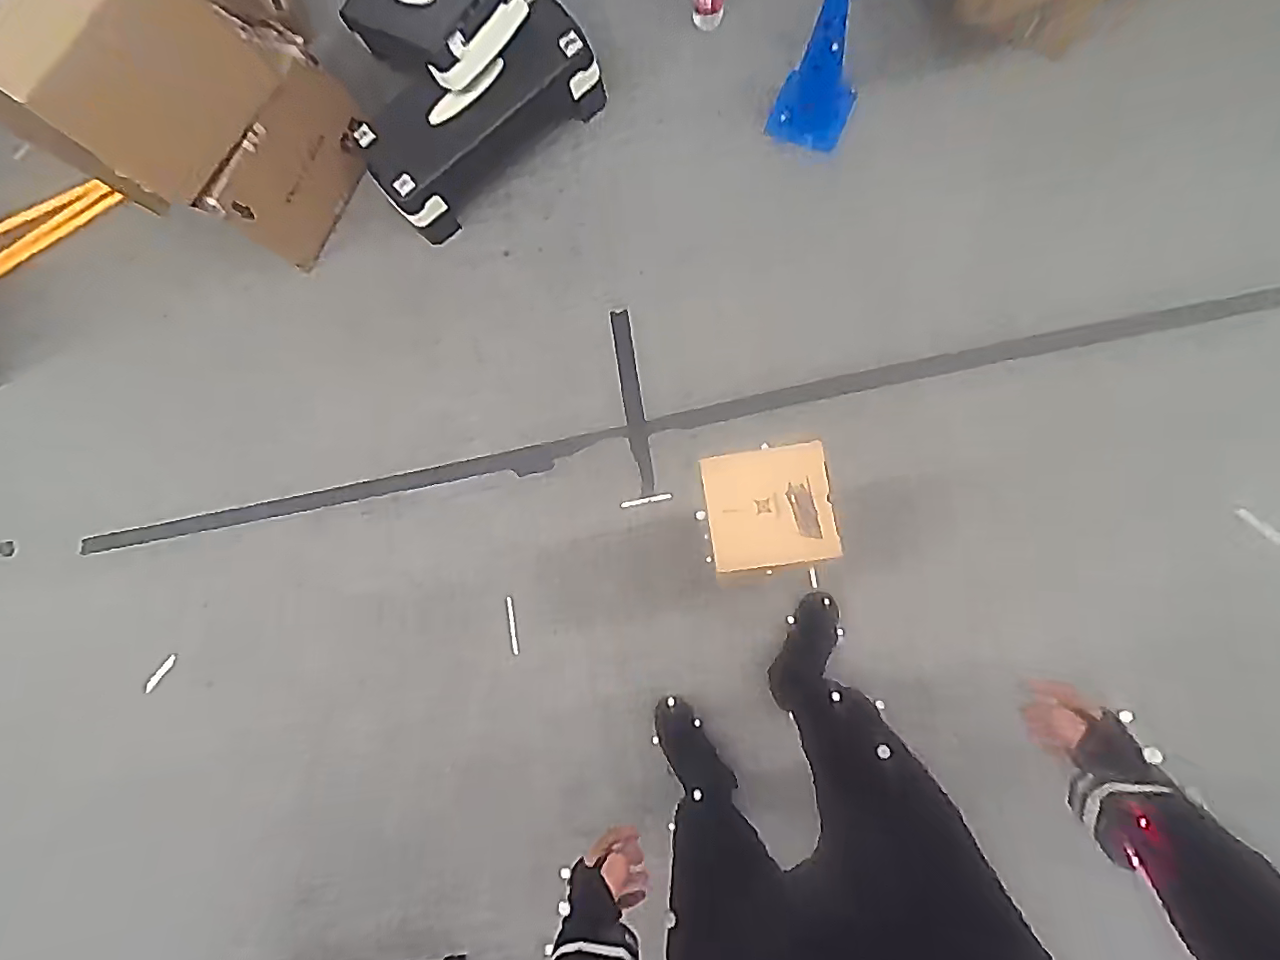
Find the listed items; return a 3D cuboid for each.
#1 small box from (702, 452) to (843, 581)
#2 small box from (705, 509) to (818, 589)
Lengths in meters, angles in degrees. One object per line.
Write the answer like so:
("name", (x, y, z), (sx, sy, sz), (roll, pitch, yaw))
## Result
("small box", (0.193, 0.059, 0.835), (0.179, 0.176, 0.168), (-9, 82, 7))
("small box", (0.212, 0.097, 0.994), (0.168, 0.176, 0.179), (-11, 83, 6))
